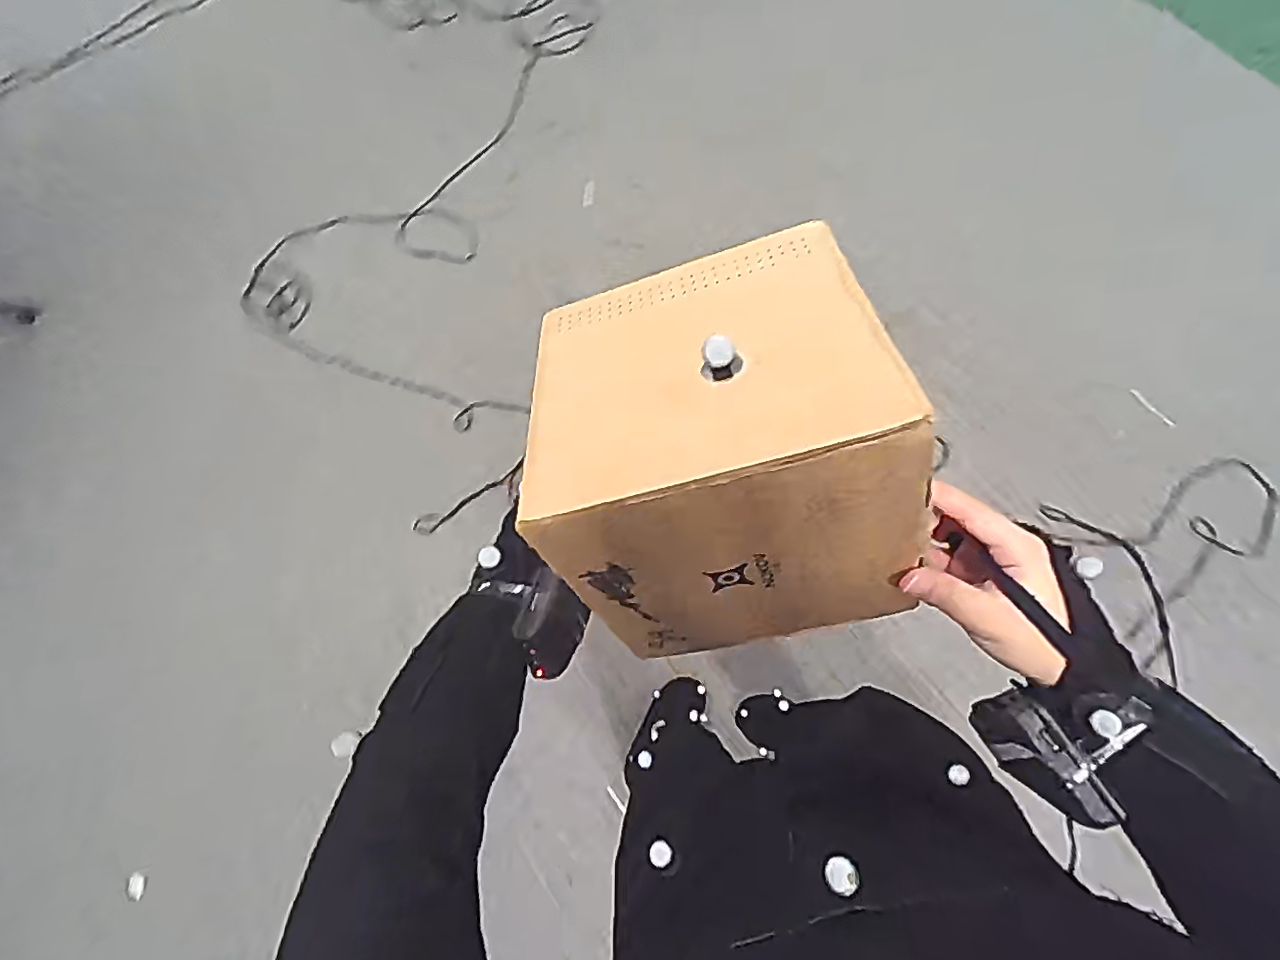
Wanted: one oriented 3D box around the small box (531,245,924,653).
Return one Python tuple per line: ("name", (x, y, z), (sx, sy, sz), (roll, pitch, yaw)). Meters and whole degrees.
("small box", (0.050, -0.015, 0.338), (0.179, 0.168, 0.176), (-14, 47, 13))
